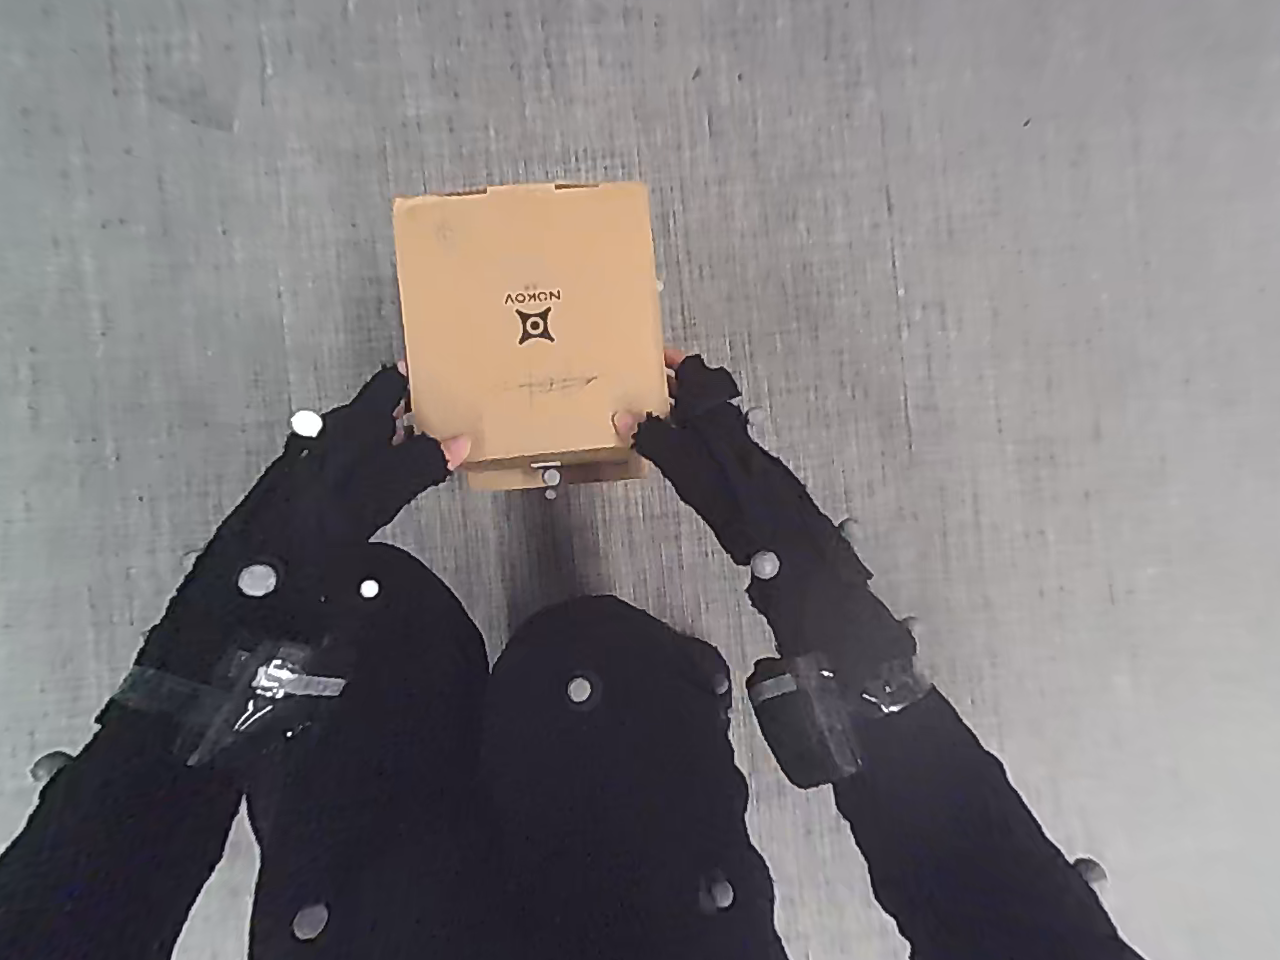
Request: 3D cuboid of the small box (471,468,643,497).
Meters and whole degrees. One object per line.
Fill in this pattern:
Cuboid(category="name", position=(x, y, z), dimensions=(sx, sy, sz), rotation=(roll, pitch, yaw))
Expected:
Cuboid(category="small box", position=(-0.091, -0.067, 0.626), dimensions=(0.179, 0.176, 0.168), rotation=(-5, 90, -3))

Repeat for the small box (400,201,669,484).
Cuboid(category="small box", position=(-0.075, -0.093, 0.436), dimensions=(0.168, 0.176, 0.179), rotation=(-6, 89, -4))
